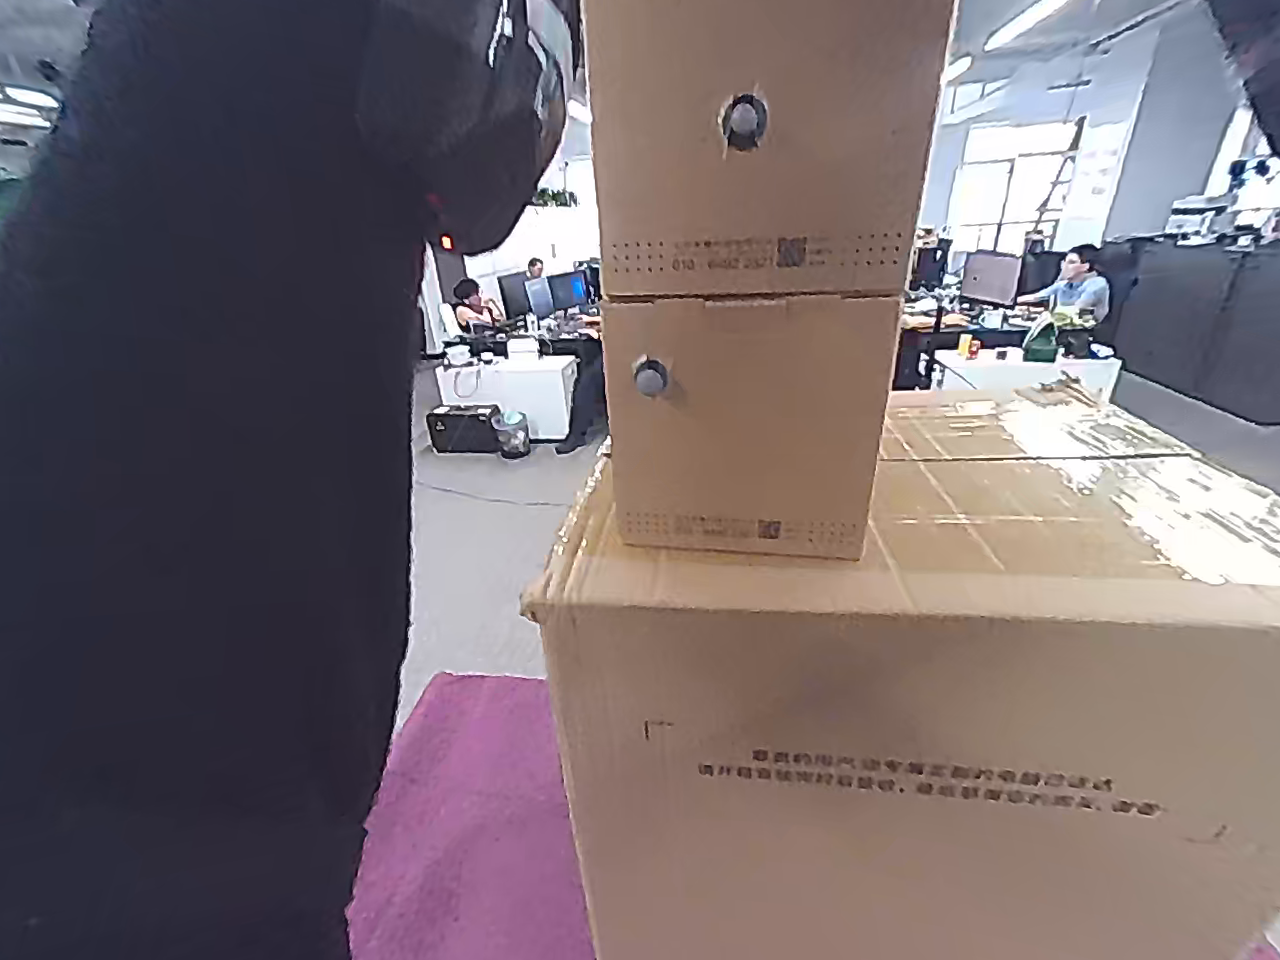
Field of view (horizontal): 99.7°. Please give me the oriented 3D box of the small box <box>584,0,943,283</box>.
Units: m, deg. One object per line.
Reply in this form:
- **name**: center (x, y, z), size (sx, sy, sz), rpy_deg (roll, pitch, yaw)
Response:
- **small box**: center (0.070, -0.217, 0.332), size (0.168, 0.176, 0.179), rpy_deg (3, 26, 9)
